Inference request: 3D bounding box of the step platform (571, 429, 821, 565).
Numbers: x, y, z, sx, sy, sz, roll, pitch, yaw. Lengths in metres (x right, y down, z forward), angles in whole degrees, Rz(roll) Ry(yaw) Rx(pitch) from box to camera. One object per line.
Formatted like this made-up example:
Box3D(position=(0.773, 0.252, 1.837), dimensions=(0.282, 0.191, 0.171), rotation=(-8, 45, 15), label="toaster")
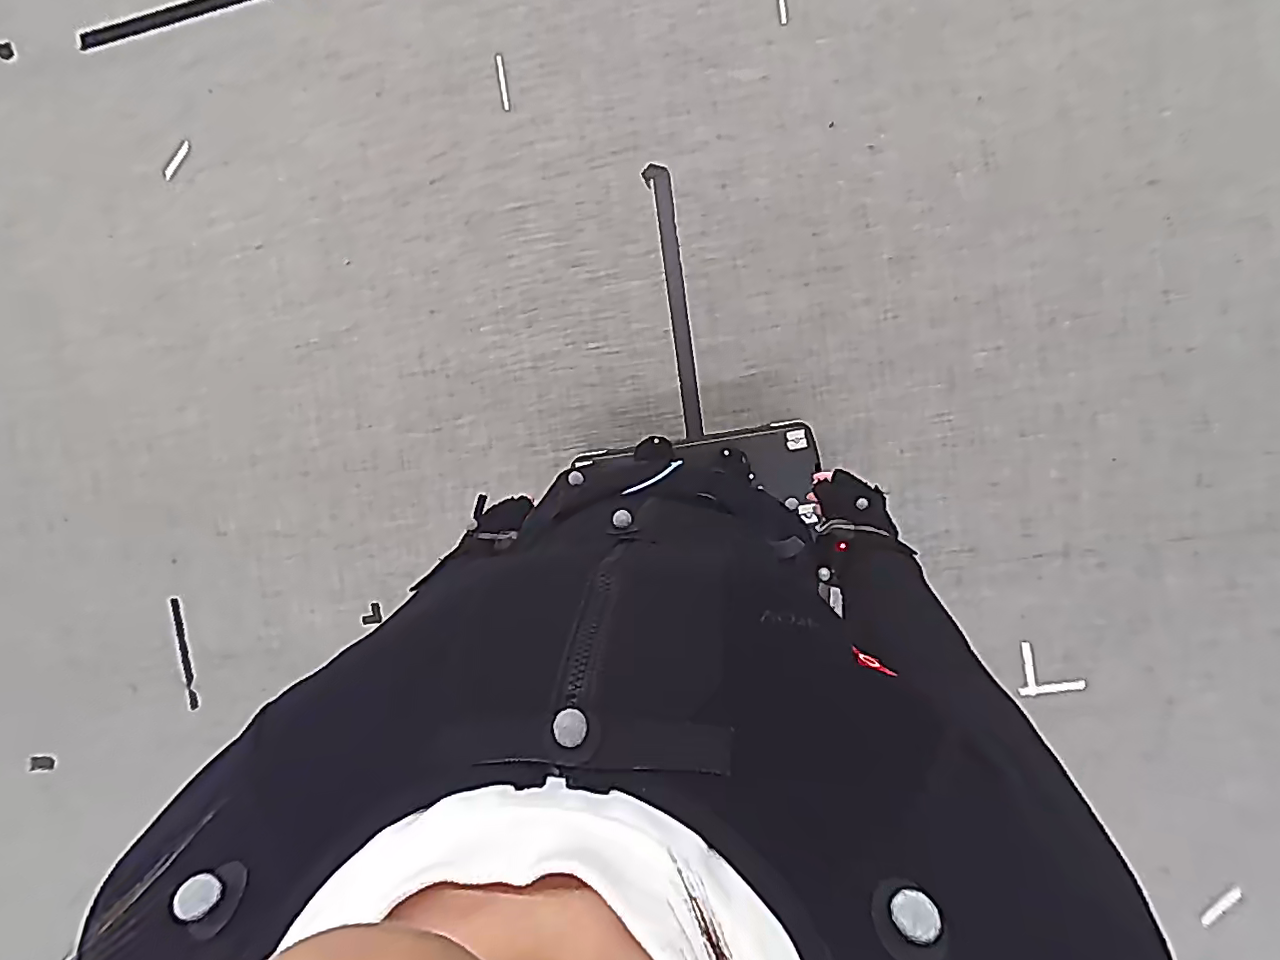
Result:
Box3D(position=(0.150, 0.047, 1.528), dimensions=(0.684, 0.204, 0.286), rotation=(-10, 95, 7), label="step platform")
